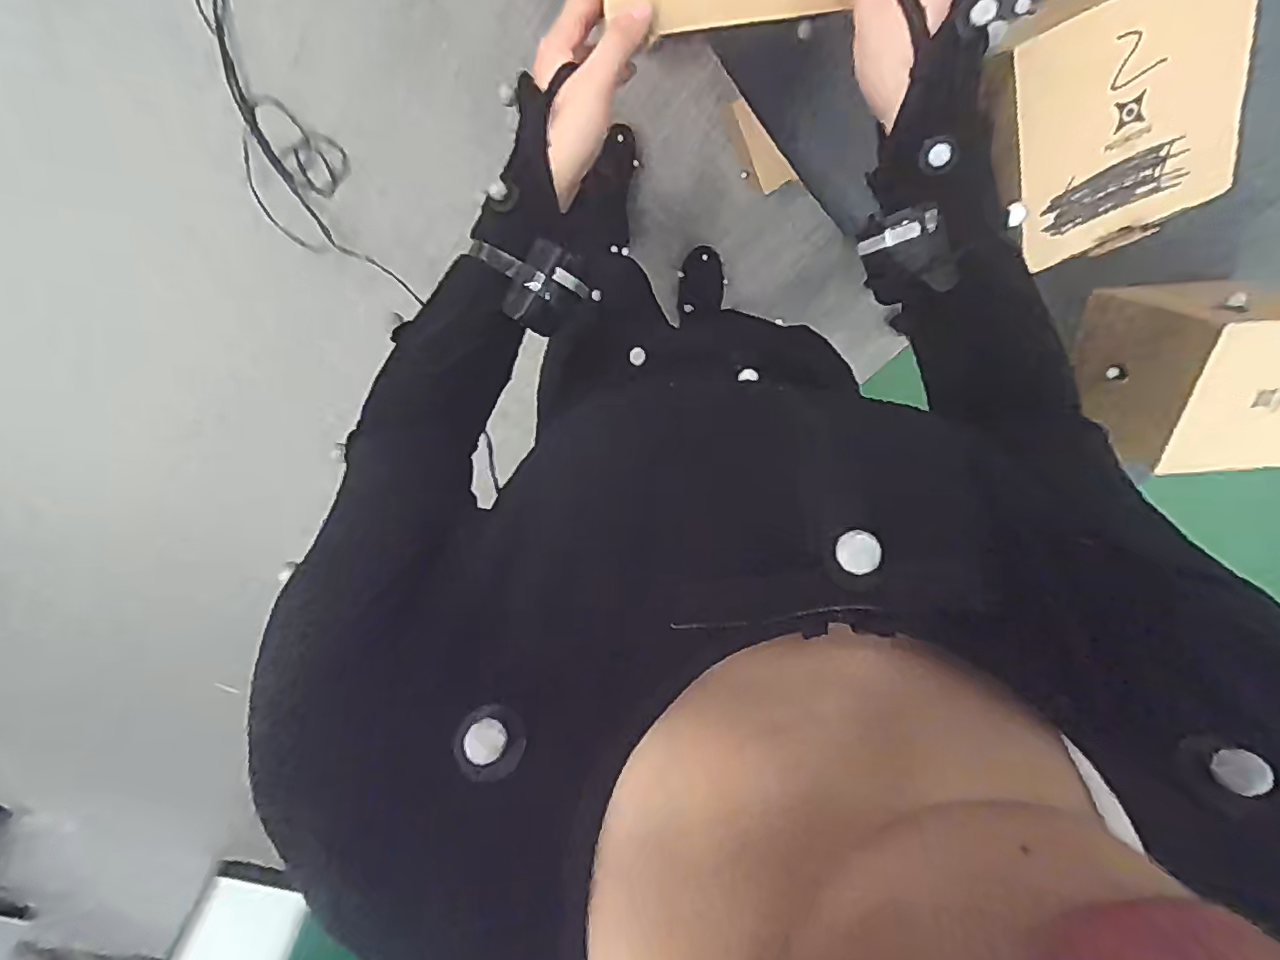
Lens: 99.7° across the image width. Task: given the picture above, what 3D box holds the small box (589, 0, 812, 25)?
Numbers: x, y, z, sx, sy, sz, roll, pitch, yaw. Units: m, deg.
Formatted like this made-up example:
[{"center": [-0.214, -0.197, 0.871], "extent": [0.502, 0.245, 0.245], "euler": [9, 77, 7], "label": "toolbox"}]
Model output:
[{"center": [0.049, -0.405, 0.336], "extent": [0.179, 0.176, 0.168], "euler": [-5, 135, 4], "label": "small box"}]

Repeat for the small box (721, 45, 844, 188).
[{"center": [0.279, -0.716, 1.077], "extent": [0.168, 0.176, 0.179], "euler": [-26, 120, 13], "label": "small box"}]

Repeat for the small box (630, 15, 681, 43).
[{"center": [0.026, -0.909, 0.937], "extent": [0.168, 0.176, 0.179], "euler": [-33, 118, 18], "label": "small box"}]

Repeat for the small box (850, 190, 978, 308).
[{"center": [0.608, -0.525, 1.220], "extent": [0.168, 0.176, 0.179], "euler": [-39, 118, 21], "label": "small box"}]

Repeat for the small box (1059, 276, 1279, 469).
[{"center": [0.629, -0.126, 0.606], "extent": [0.179, 0.176, 0.168], "euler": [-4, 121, -1], "label": "small box"}]
